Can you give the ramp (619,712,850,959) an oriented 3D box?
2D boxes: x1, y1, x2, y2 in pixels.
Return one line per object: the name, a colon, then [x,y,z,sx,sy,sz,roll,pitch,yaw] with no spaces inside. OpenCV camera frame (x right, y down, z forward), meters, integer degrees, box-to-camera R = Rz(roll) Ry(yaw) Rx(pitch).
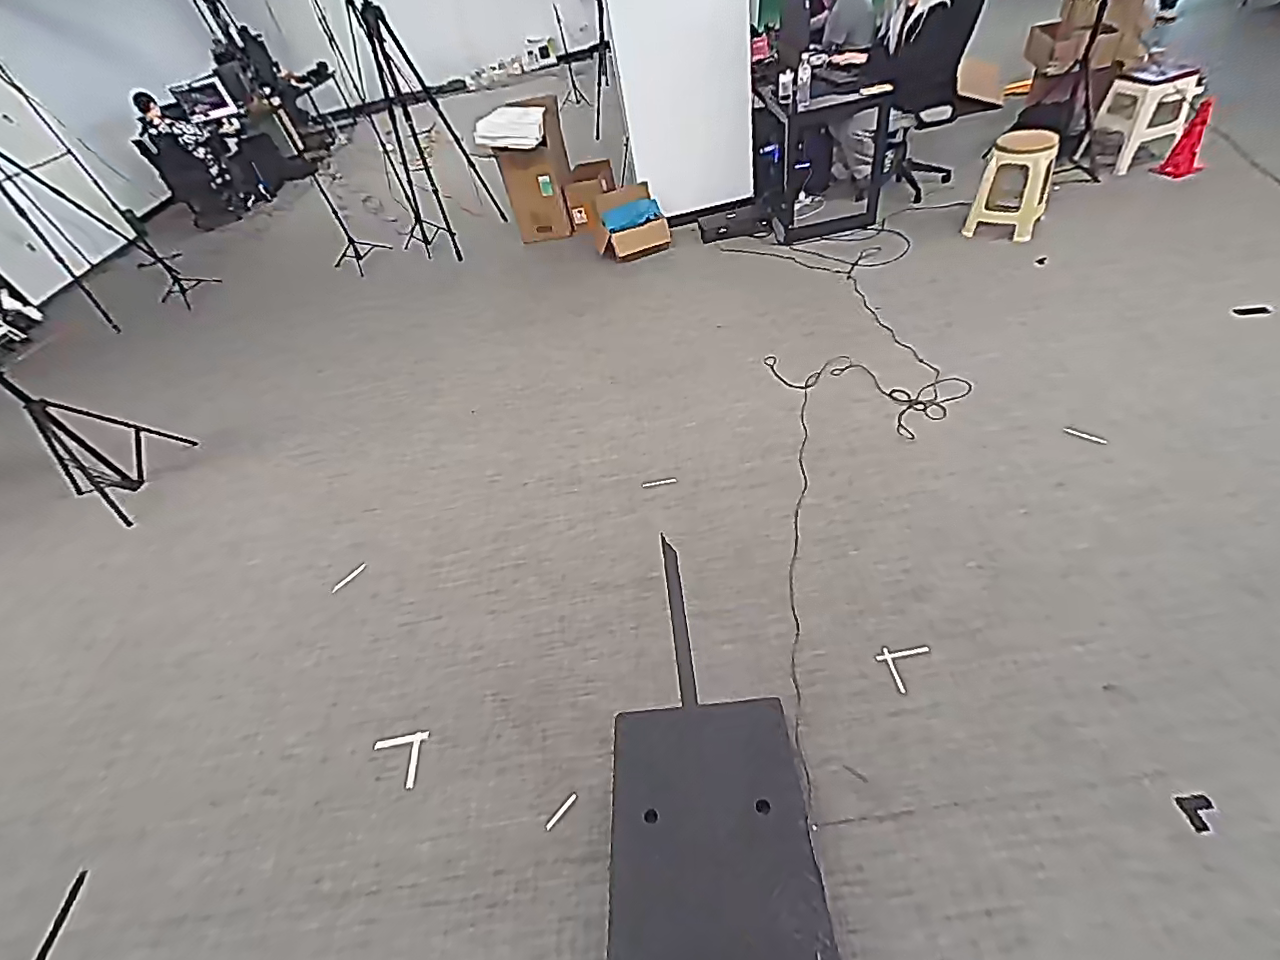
ramp: [0.191,0.997,1.180,0.509,0.206,0.991,-12,43,5]
